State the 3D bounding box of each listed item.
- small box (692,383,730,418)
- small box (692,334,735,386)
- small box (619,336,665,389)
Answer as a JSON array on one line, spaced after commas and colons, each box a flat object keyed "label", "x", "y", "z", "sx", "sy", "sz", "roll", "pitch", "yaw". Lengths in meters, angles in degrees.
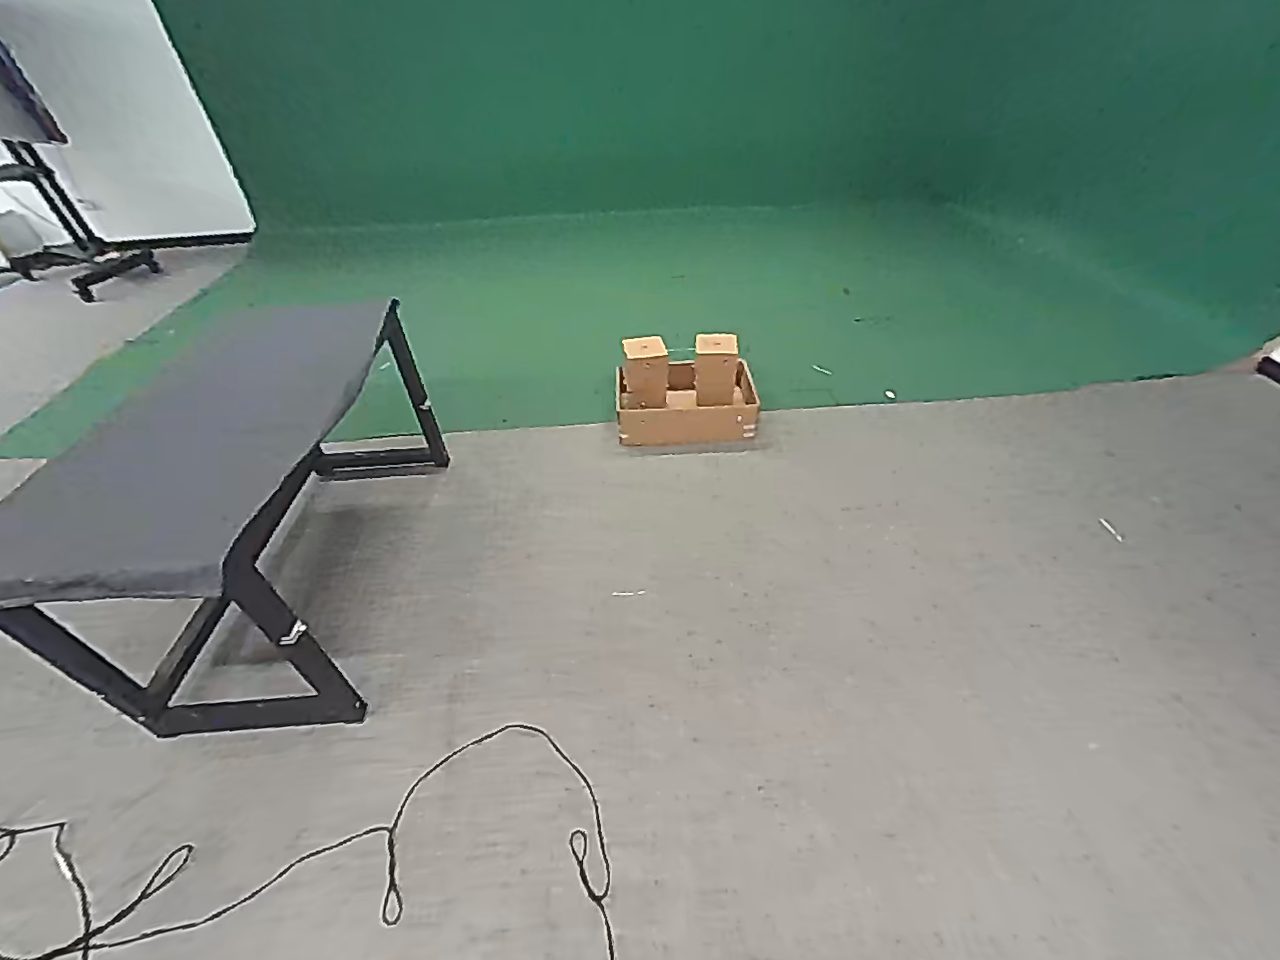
[{"label": "small box", "x": 0.325, "y": -0.407, "z": 2.491, "sx": 0.168, "sy": 0.176, "sz": 0.179, "roll": 2, "pitch": 44, "yaw": 5}, {"label": "small box", "x": 0.320, "y": -0.524, "z": 2.376, "sx": 0.179, "sy": 0.176, "sz": 0.168, "roll": 2, "pitch": 43, "yaw": 6}, {"label": "small box", "x": 0.007, "y": -0.512, "z": 2.374, "sx": 0.179, "sy": 0.176, "sz": 0.168, "roll": -7, "pitch": 44, "yaw": -8}]
